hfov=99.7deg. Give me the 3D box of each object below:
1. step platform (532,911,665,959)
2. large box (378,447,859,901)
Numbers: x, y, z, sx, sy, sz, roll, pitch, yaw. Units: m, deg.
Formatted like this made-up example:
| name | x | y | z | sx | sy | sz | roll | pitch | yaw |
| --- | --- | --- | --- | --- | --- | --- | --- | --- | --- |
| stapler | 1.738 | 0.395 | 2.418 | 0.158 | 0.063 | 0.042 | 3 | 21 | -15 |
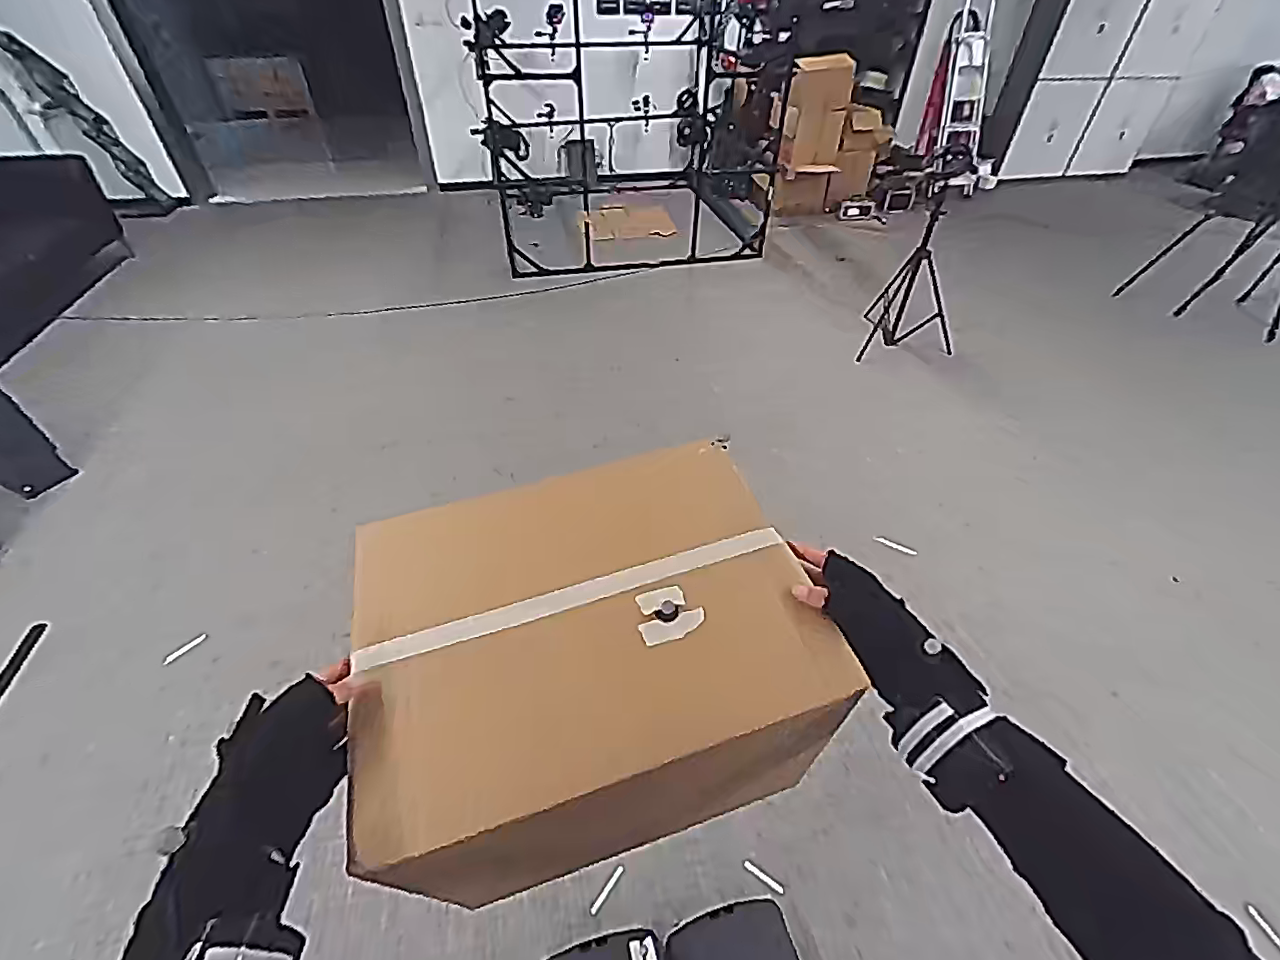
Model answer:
| name | x | y | z | sx | sy | sz | roll | pitch | yaw |
| --- | --- | --- | --- | --- | --- | --- | --- | --- | --- |
| step platform | -0.020 | 1.235 | 0.997 | 0.286 | 0.204 | 0.684 | -10 | 43 | -12 |
| large box | -0.042 | 0.215 | 0.626 | 0.408 | 0.320 | 0.320 | -14 | 49 | -11 |
